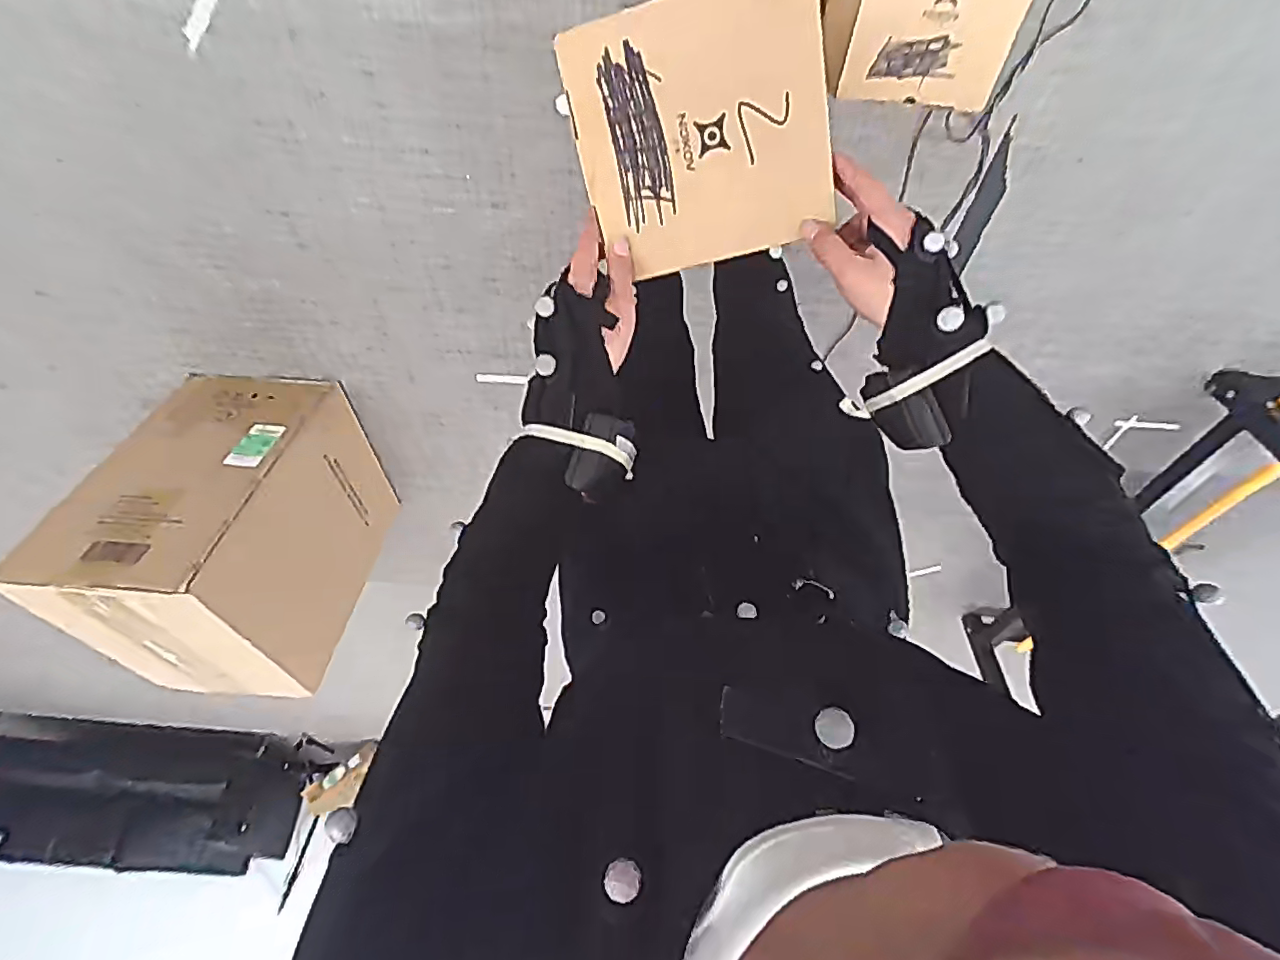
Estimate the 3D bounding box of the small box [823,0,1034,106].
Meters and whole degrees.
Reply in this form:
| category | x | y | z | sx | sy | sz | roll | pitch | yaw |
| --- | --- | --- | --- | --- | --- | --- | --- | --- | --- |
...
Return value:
| category | x | y | z | sx | sy | sz | roll | pitch | yaw |
| --- | --- | --- | --- | --- | --- | --- | --- | --- | --- |
| small box | 0.306 | -0.530 | 0.576 | 0.168 | 0.176 | 0.179 | 5 | 138 | 0 |
